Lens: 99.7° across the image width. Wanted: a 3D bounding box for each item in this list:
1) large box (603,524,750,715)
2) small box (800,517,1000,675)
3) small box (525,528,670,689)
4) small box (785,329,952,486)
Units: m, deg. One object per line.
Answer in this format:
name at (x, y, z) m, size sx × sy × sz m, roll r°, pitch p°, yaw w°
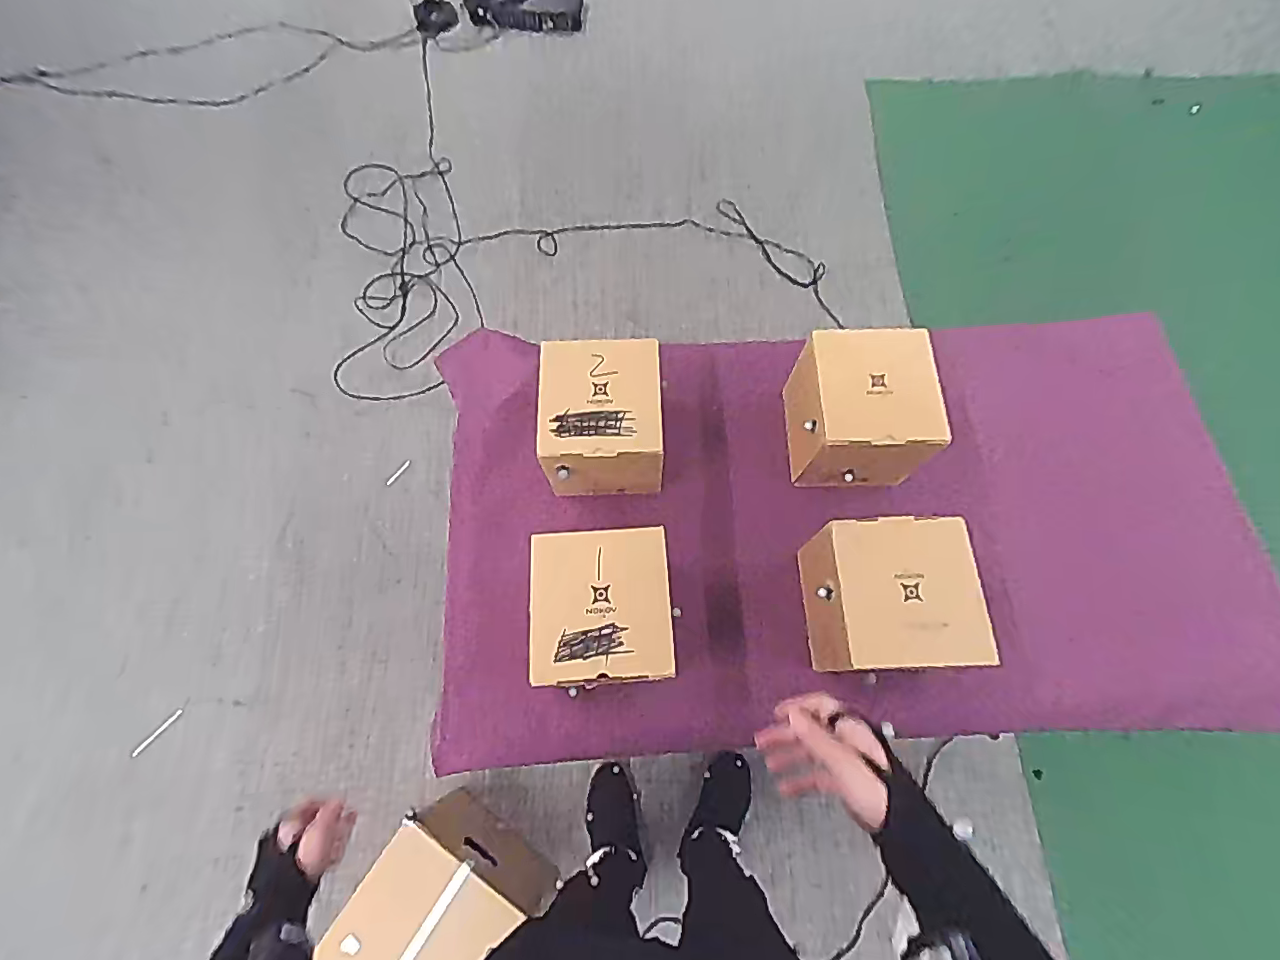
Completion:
large box at (0.072, 0.351, 1.336) m, size 0.320 × 0.320 × 0.408 m, roll -2°, pitch 69°, yaw -1°
small box at (0.315, 0.156, 0.698) m, size 0.168 × 0.176 × 0.179 m, roll -1°, pitch 69°, yaw 1°
small box at (-0.048, 0.171, 0.697) m, size 0.168 × 0.176 × 0.179 m, roll -3°, pitch 68°, yaw -1°
small box at (0.318, -0.101, 0.795) m, size 0.168 × 0.176 × 0.179 m, roll -1°, pitch 71°, yaw 0°
